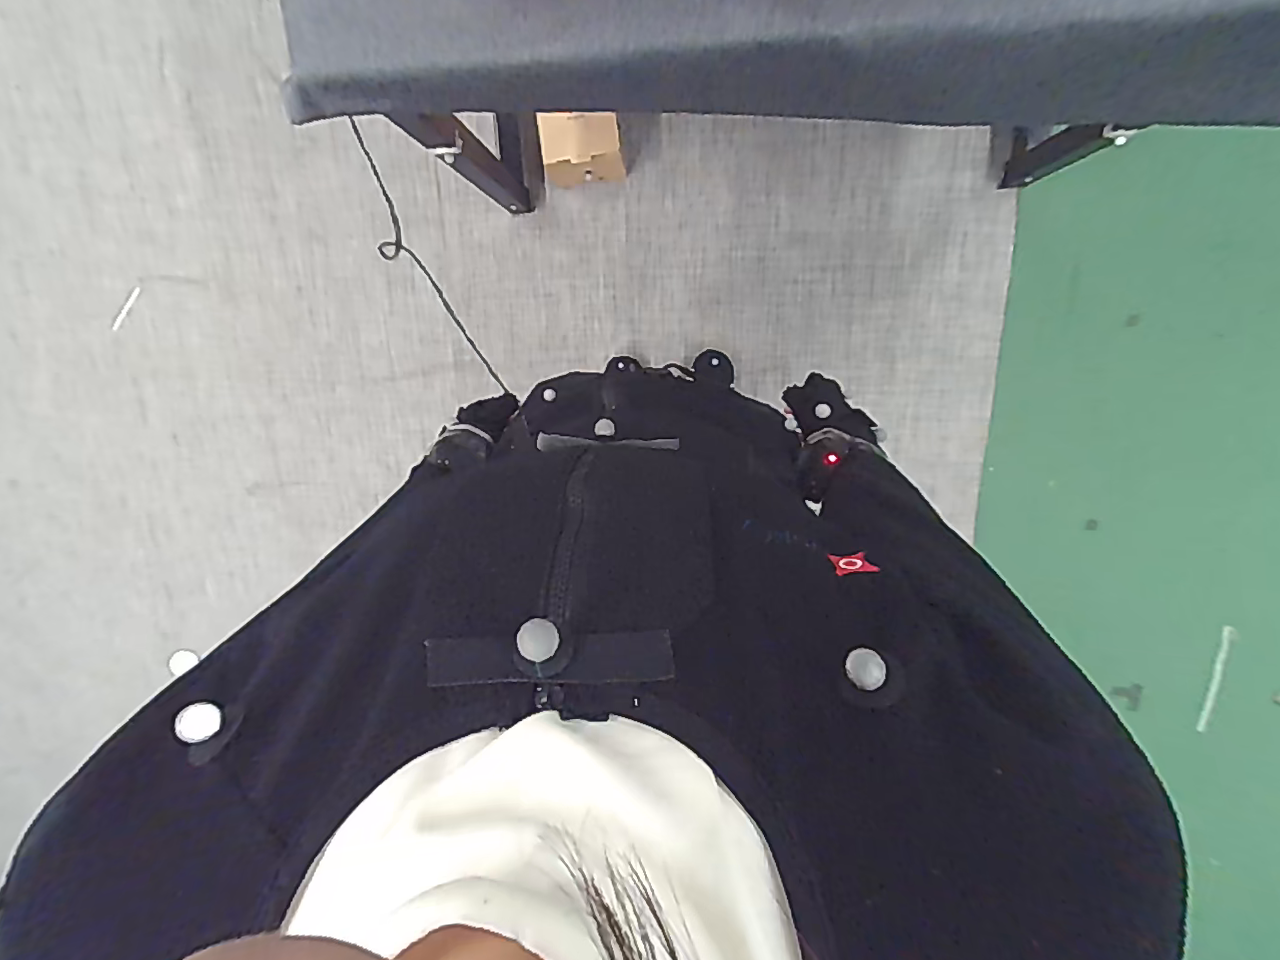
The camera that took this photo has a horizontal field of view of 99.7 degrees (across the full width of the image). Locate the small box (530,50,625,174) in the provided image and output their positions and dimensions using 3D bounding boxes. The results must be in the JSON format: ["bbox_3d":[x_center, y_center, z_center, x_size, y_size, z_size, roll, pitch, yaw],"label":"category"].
[{"bbox_3d":[-0.128,-0.785,1.177,0.168,0.176,0.179,-5,104,5],"label":"small box"}]
